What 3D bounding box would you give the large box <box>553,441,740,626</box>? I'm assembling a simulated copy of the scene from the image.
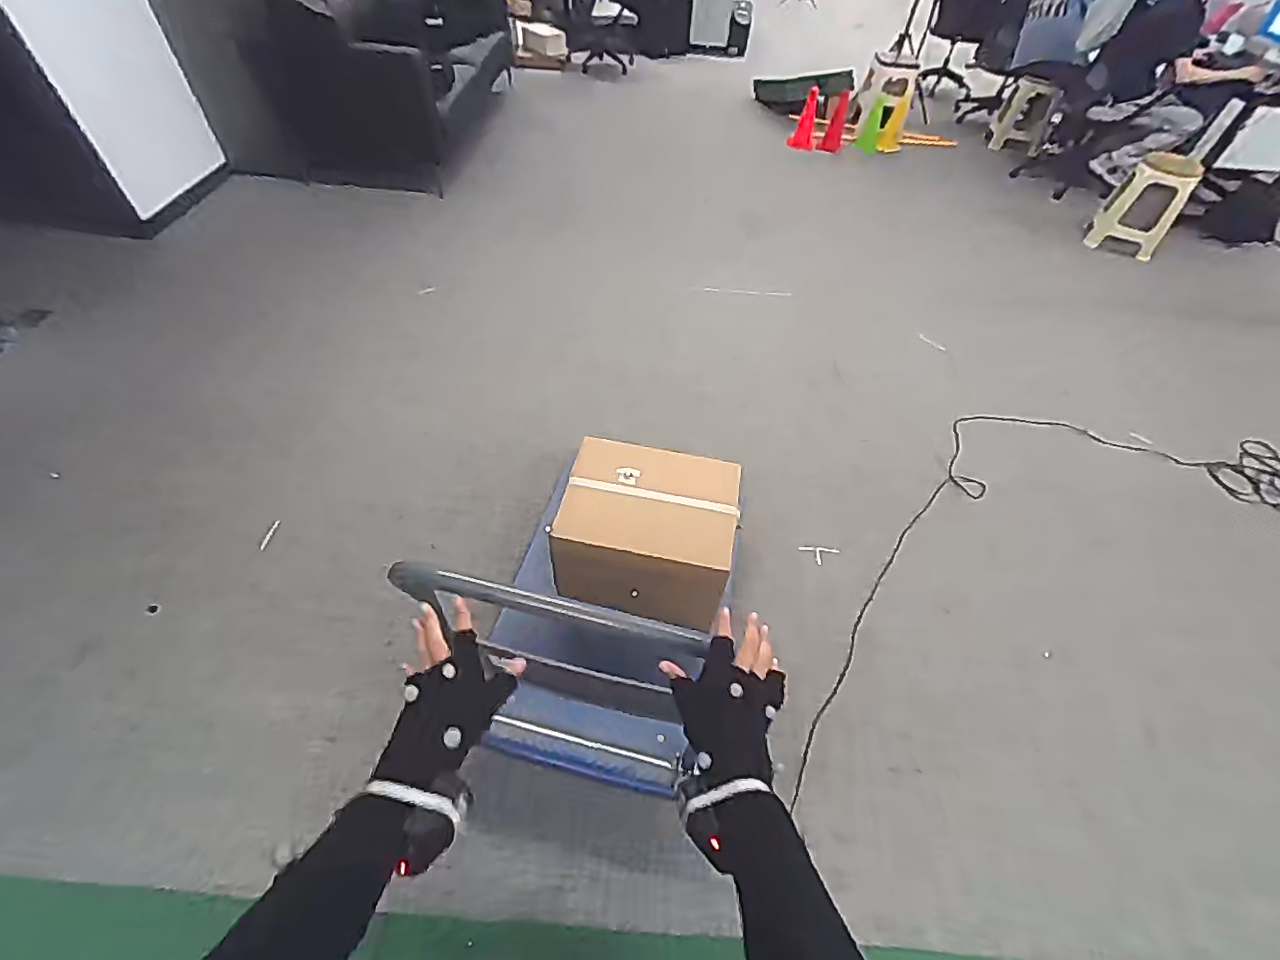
[{"bbox_3d":[0.024,0.142,1.387,0.408,0.320,0.320,10,50,5],"label":"large box"}]
